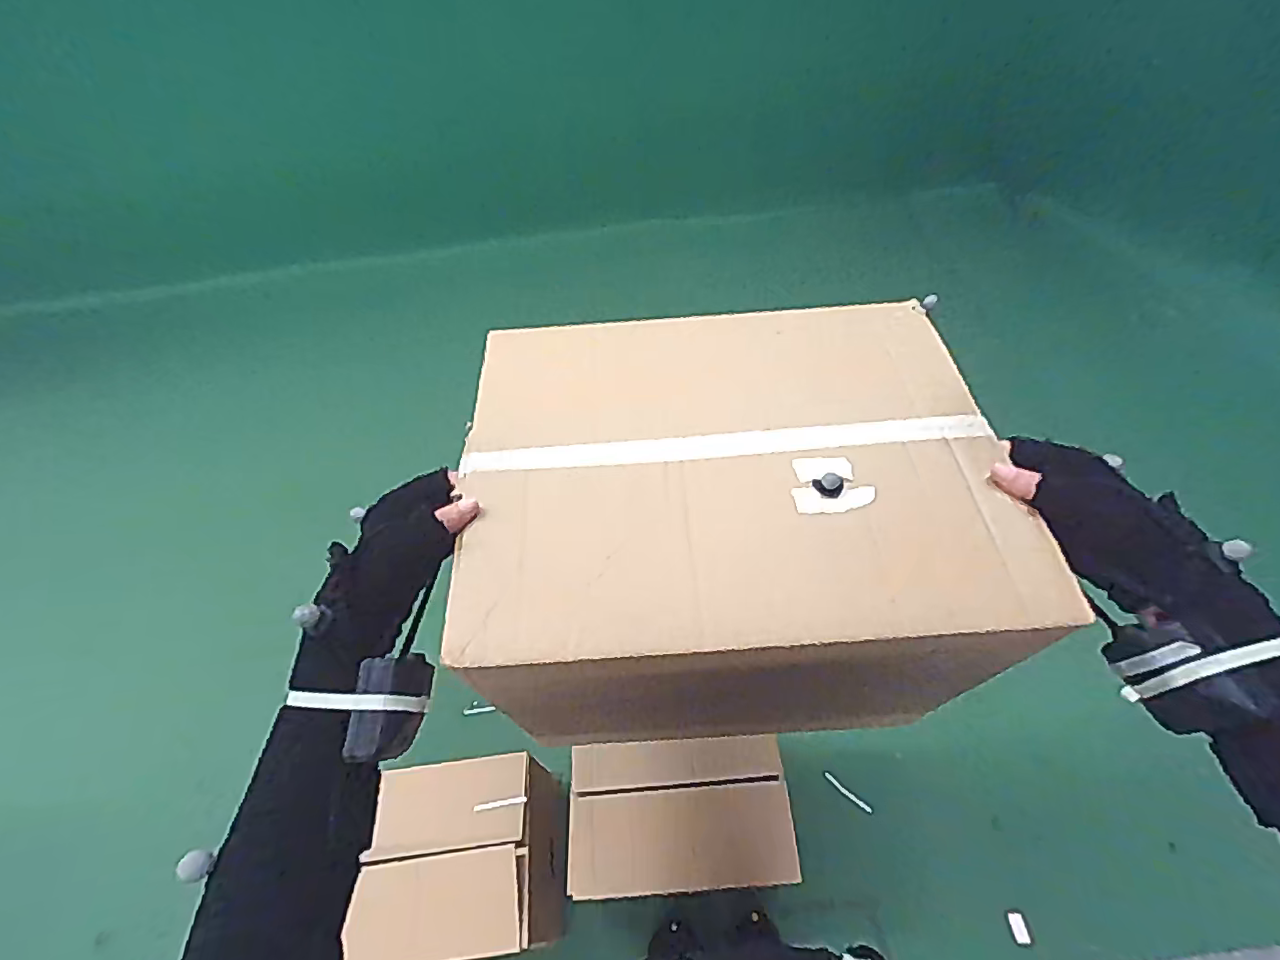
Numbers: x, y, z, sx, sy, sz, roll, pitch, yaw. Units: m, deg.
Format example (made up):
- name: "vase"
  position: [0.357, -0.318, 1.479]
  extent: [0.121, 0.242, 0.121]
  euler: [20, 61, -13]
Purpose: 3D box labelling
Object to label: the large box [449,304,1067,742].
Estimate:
- name: "large box"
  position: [0.068, 0.057, 0.544]
  extent: [0.408, 0.320, 0.320]
  euler: [-4, 56, -1]
